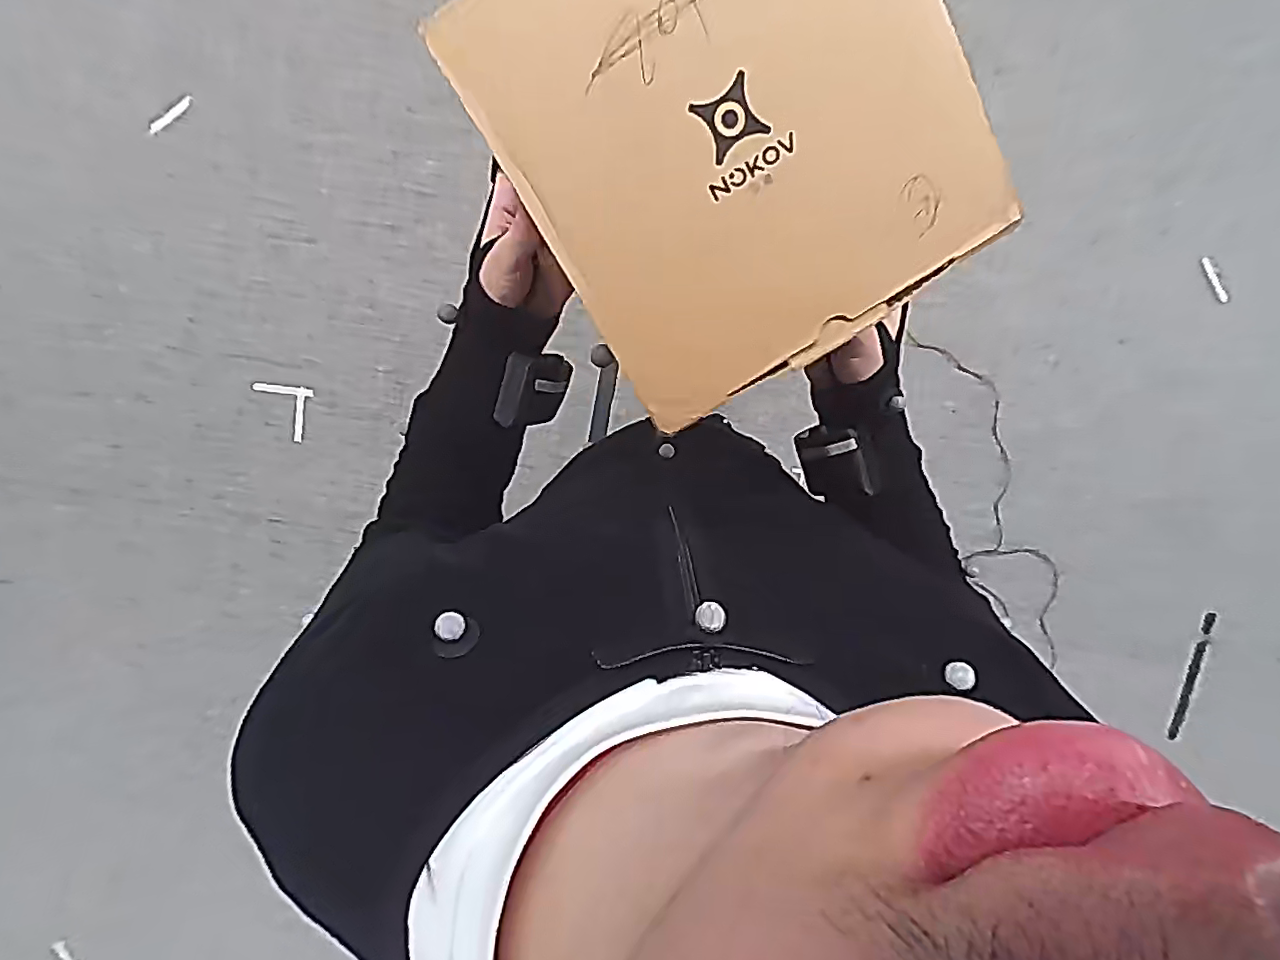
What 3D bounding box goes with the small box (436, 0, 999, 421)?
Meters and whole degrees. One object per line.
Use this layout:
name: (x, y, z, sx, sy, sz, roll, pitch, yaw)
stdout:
small box: (0.034, -0.158, 0.290, 0.168, 0.176, 0.179, -32, 103, 7)
